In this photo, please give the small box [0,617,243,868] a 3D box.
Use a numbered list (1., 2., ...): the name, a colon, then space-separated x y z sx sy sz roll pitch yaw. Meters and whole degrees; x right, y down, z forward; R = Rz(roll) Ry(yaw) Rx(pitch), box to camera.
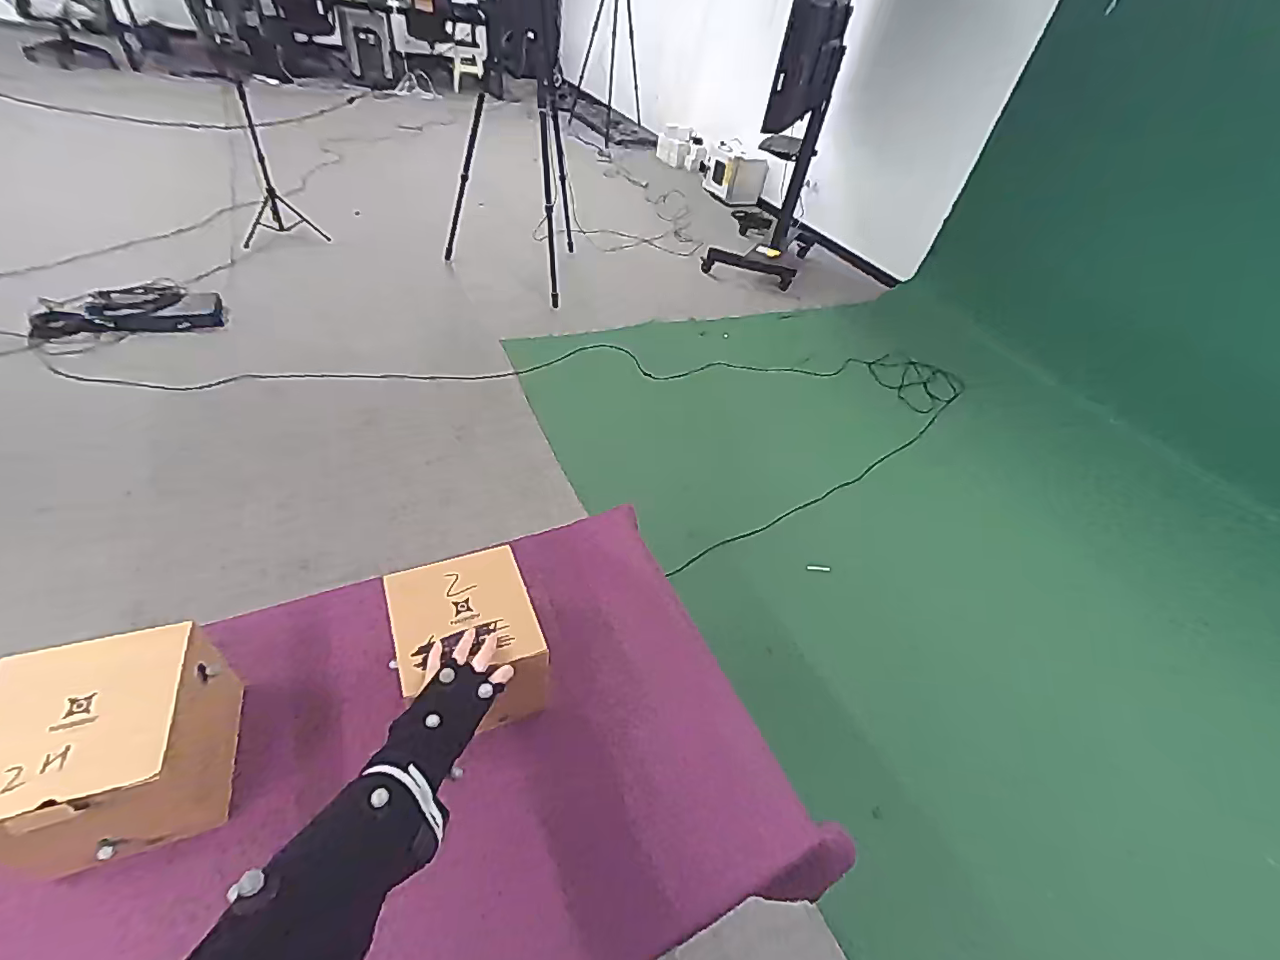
1. small box: -0.564 0.282 0.591 0.168 0.176 0.179 -9 48 -20
